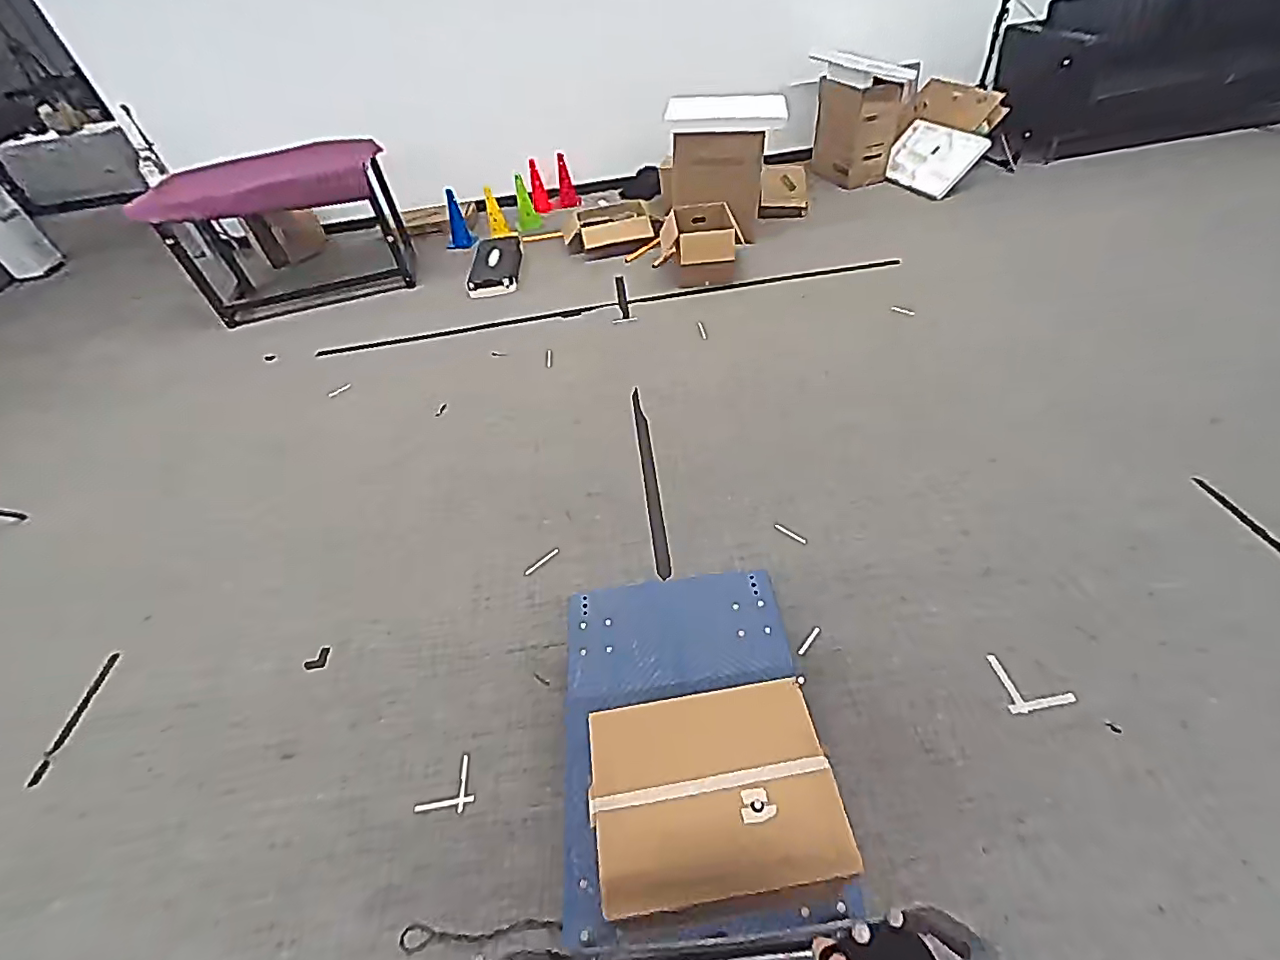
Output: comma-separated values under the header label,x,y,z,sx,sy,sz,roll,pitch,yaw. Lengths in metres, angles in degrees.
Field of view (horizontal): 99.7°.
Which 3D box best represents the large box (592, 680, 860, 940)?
label,x,y,z,sx,sy,sz,roll,pitch,yaw
large box,0.138,0.631,1.035,0.408,0.320,0.320,-9,46,-2
